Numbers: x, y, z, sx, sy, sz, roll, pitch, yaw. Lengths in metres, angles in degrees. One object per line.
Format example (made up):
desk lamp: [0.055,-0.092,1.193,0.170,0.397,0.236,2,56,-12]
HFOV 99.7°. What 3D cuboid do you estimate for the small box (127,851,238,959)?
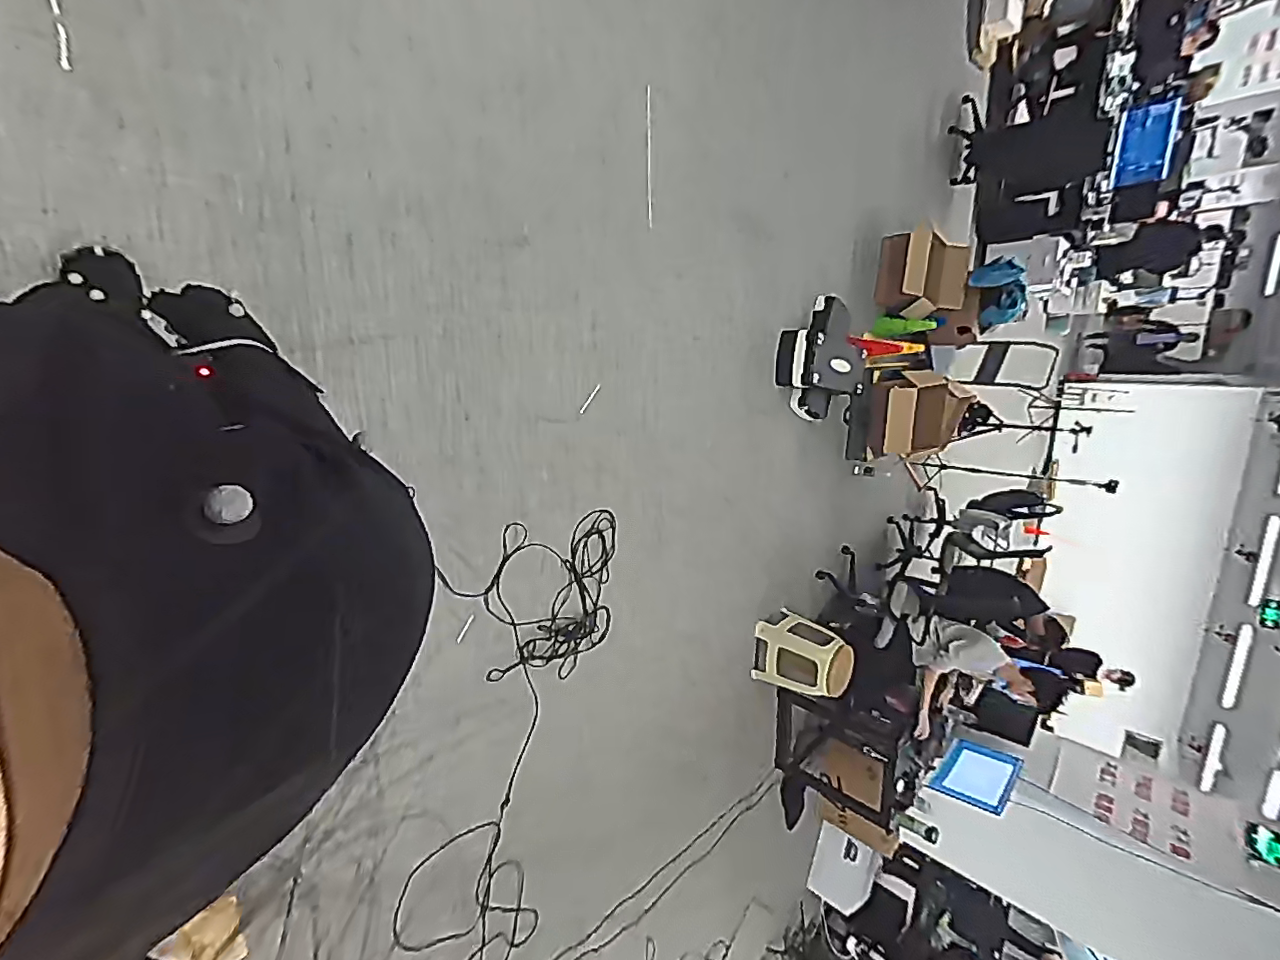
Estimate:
small box: [-1.037,1.004,1.227,0.168,0.176,0.179,-11,106,-45]
